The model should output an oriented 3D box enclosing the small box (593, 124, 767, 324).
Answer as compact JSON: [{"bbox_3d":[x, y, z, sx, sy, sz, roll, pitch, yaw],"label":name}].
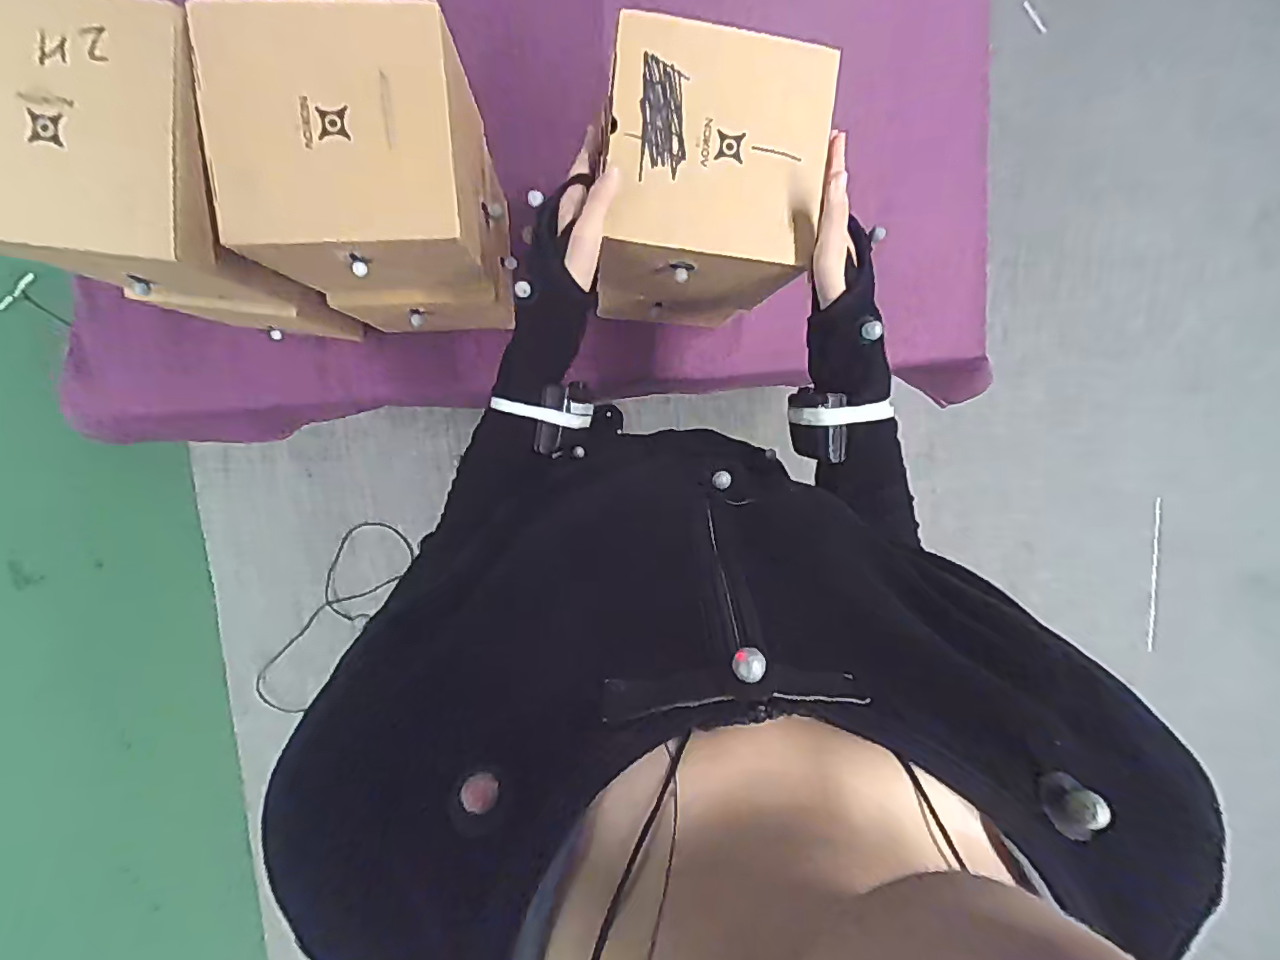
[{"bbox_3d":[0.036,-0.290,0.650,0.179,0.176,0.168,3,96,-5],"label":"small box"}]
